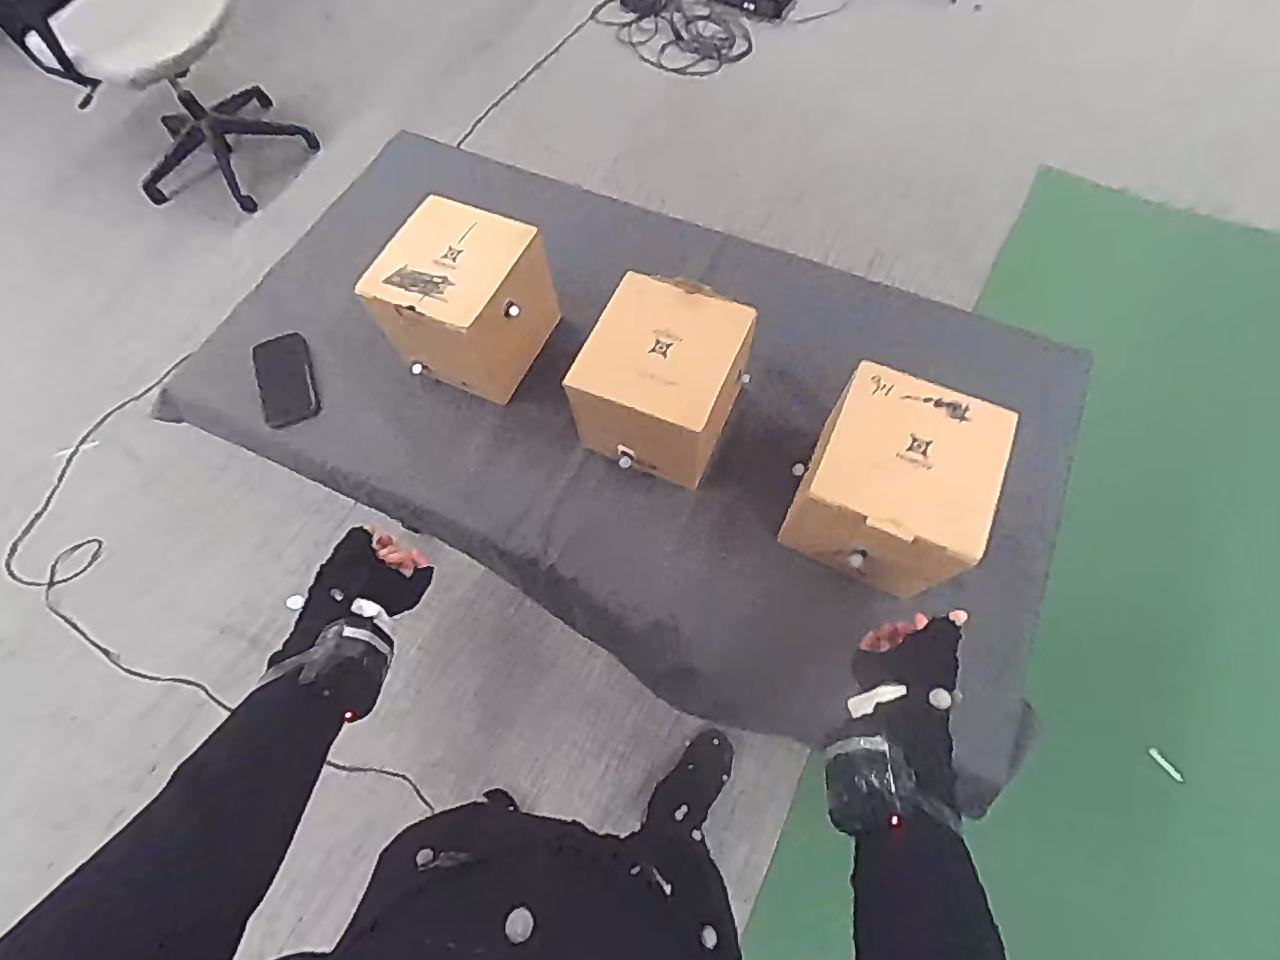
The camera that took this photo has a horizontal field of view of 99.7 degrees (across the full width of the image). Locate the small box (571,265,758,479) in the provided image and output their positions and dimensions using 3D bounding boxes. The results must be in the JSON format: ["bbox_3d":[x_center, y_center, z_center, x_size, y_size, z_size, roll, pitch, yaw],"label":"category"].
[{"bbox_3d":[0.032,-0.129,0.684,0.168,0.176,0.179,21,71,11],"label":"small box"}]

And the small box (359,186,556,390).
[{"bbox_3d":[-0.230,-0.253,0.740,0.168,0.176,0.179,23,70,10],"label":"small box"}]
